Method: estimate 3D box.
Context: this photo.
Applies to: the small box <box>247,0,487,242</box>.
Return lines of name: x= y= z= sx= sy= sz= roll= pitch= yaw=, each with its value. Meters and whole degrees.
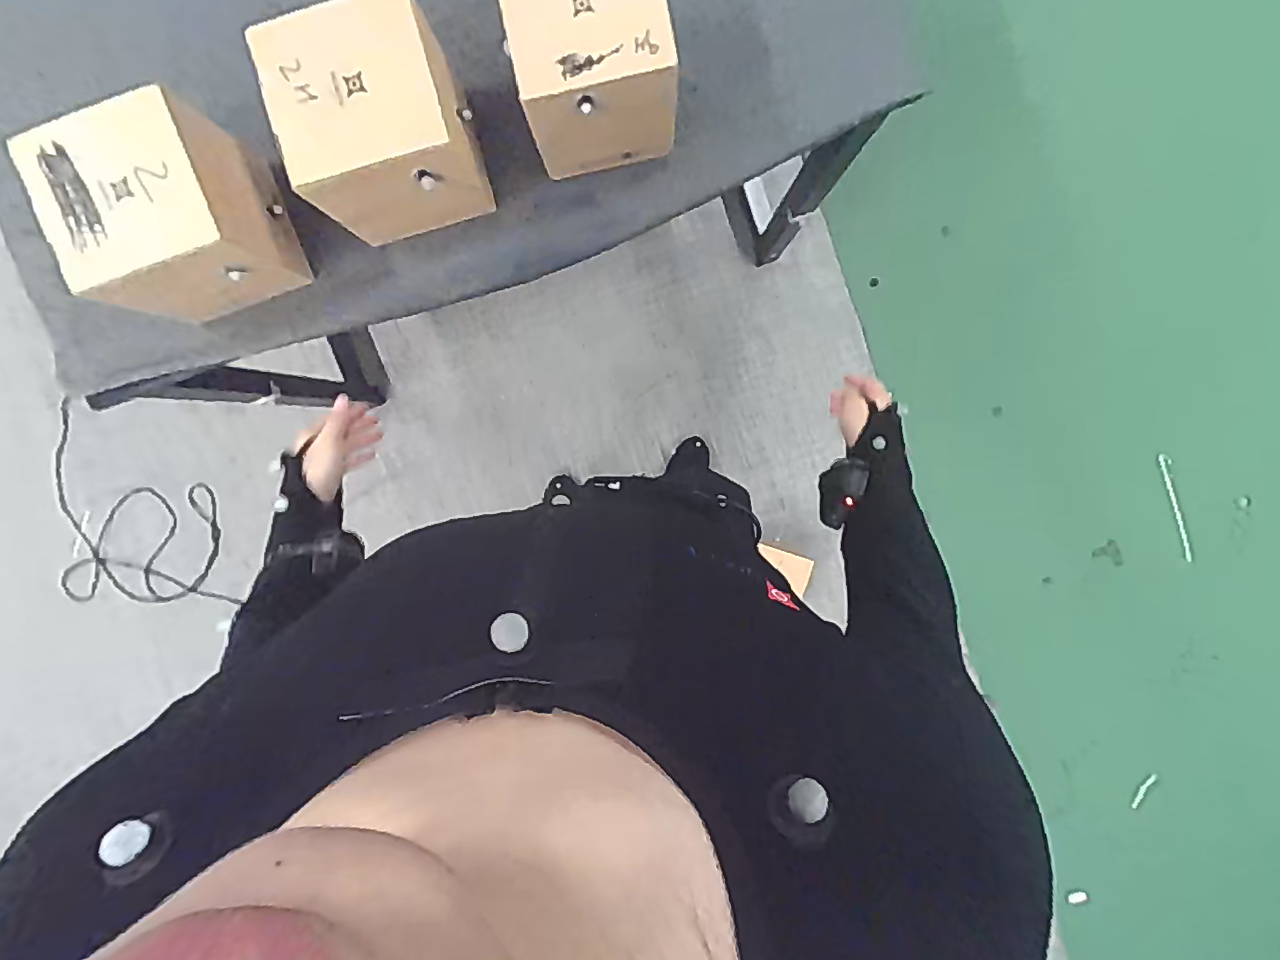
small box: x=-0.294 y=-0.404 z=0.629 sx=0.179 sy=0.176 sz=0.168 roll=-15 pitch=94 yaw=3

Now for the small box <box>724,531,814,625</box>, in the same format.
small box: x=0.329 y=0.250 z=1.422 sx=0.168 sy=0.176 sz=0.179 roll=18 pitch=95 yaw=-1
